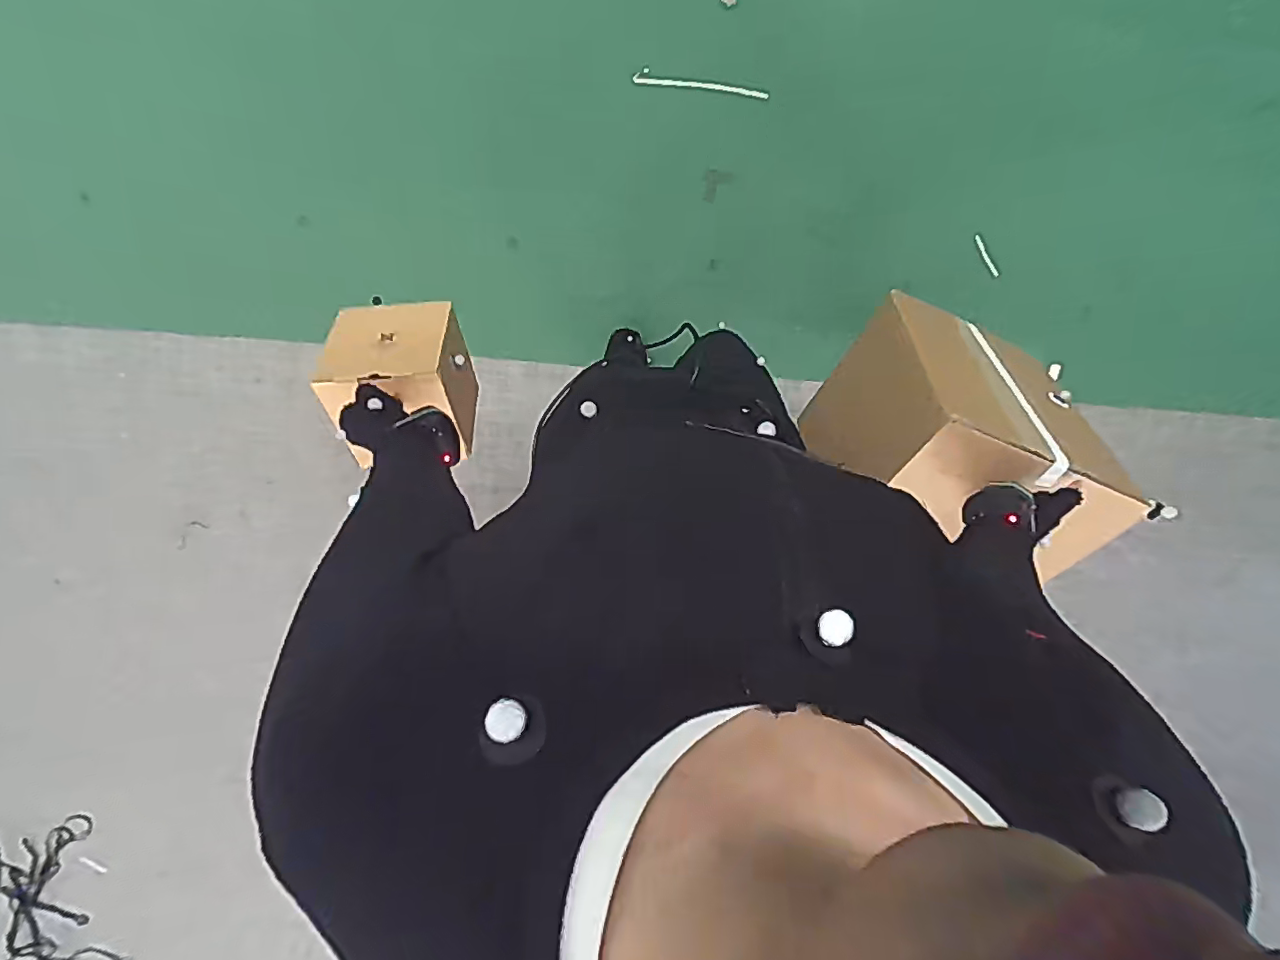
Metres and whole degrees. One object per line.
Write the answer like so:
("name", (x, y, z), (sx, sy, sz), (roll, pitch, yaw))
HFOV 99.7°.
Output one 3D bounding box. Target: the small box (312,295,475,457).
("small box", (-0.355, -0.157, 0.821), (0.168, 0.179, 0.176), (-5, 141, -4))
